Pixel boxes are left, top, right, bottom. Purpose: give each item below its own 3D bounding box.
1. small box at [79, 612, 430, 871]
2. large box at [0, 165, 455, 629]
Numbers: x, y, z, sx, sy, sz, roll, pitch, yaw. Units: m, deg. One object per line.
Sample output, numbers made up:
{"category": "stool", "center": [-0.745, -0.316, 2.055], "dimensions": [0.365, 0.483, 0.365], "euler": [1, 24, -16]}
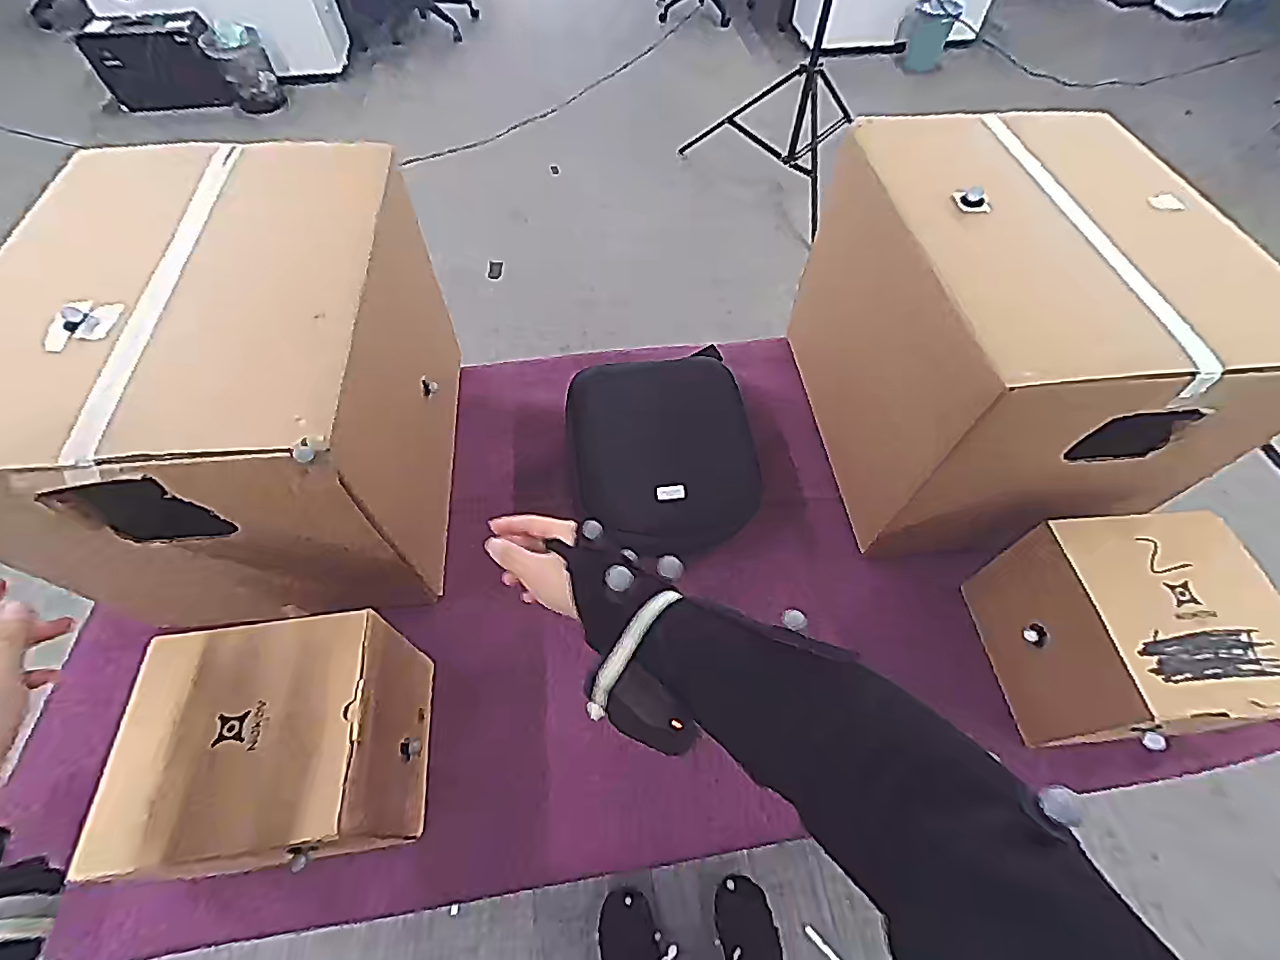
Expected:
{"category": "small box", "center": [-0.307, 0.236, 0.482], "dimensions": [0.179, 0.176, 0.168], "euler": [-7, 56, -6]}
{"category": "large box", "center": [-0.402, -0.085, 0.603], "dimensions": [0.320, 0.320, 0.408], "euler": [-6, 60, -5]}
